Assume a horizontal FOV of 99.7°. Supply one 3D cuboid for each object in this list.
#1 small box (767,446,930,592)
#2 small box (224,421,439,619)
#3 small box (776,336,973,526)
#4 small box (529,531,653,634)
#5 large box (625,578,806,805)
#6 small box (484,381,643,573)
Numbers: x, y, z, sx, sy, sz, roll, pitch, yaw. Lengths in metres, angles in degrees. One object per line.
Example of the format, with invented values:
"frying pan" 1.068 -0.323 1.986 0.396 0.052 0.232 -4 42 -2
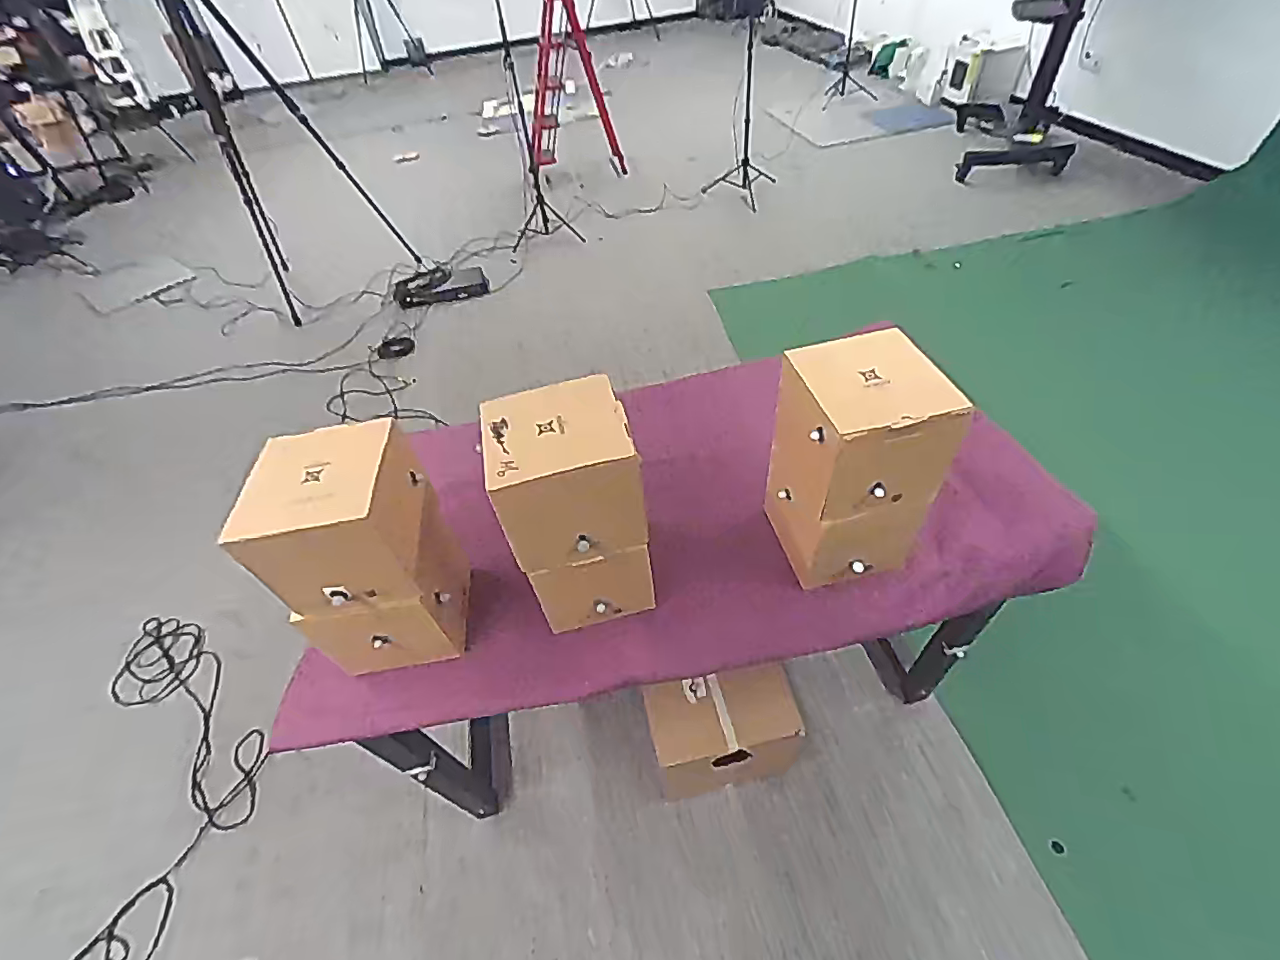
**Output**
"small box" 0.309 0.047 0.849 0.168 0.176 0.179 -12 48 -4
"small box" -0.375 0.052 0.700 0.168 0.176 0.179 -11 47 -2
"small box" 0.296 -0.066 0.733 0.168 0.176 0.179 -13 48 -5
"small box" -0.081 0.108 0.837 0.168 0.176 0.179 -13 47 -5
"large box" 0.162 0.517 1.338 0.320 0.320 0.408 -13 49 -4
"small box" -0.096 -0.002 0.716 0.179 0.176 0.168 -13 46 -6
